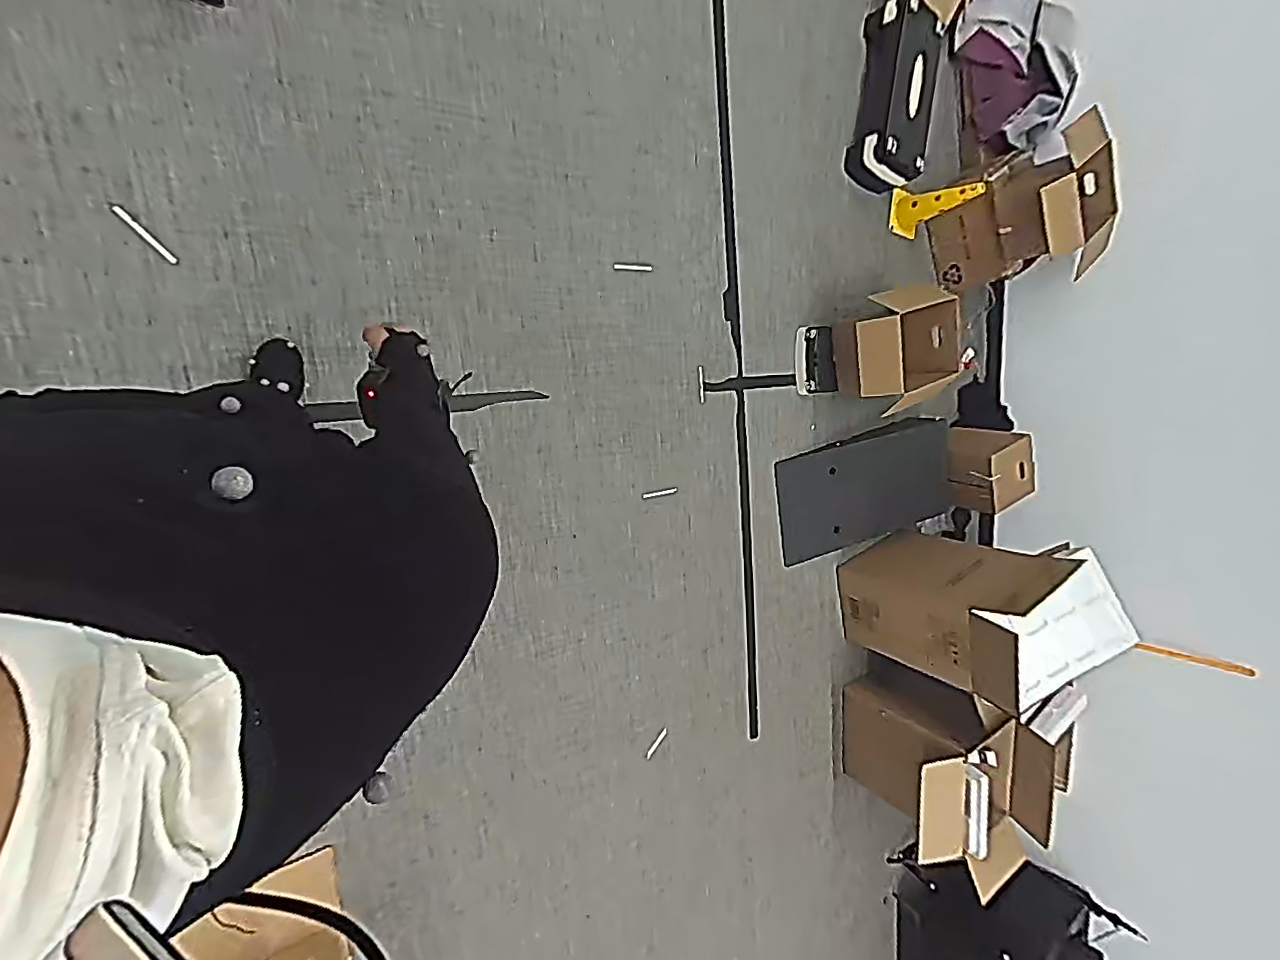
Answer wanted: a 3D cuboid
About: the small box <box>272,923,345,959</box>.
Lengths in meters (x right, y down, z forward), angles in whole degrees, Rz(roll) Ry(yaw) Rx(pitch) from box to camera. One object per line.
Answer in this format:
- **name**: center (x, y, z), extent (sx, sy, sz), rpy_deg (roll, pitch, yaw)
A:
- **small box**: center (-0.909, 1.385, 1.479), extent (0.179, 0.176, 0.168), rpy_deg (-10, 102, -32)
